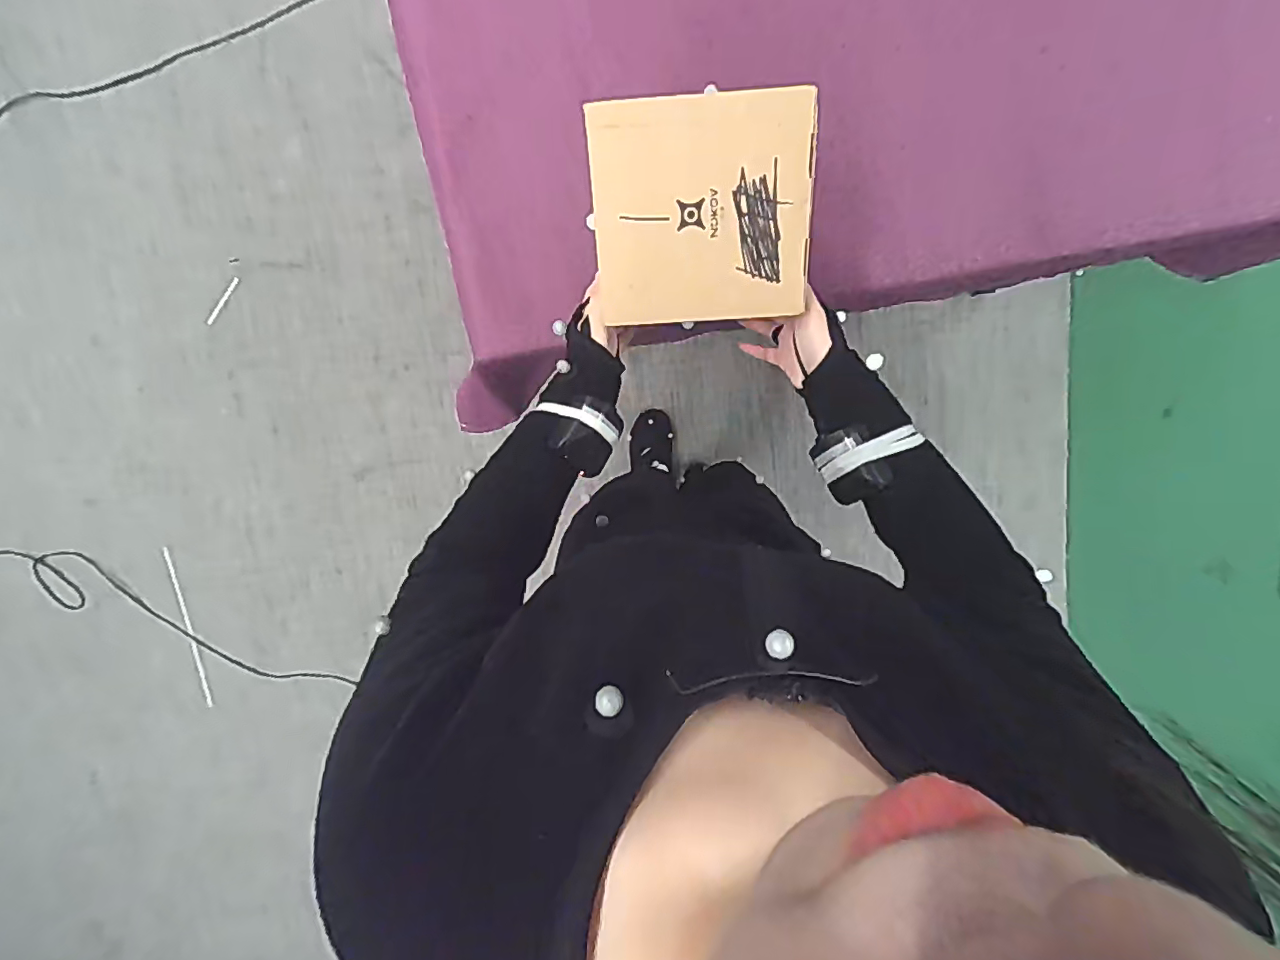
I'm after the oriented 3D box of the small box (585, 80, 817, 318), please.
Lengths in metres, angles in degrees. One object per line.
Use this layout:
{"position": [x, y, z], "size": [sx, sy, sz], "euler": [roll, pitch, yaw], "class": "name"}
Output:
{"position": [0.050, -0.250, 0.506], "size": [0.179, 0.176, 0.168], "euler": [-3, 113, 3], "class": "small box"}
